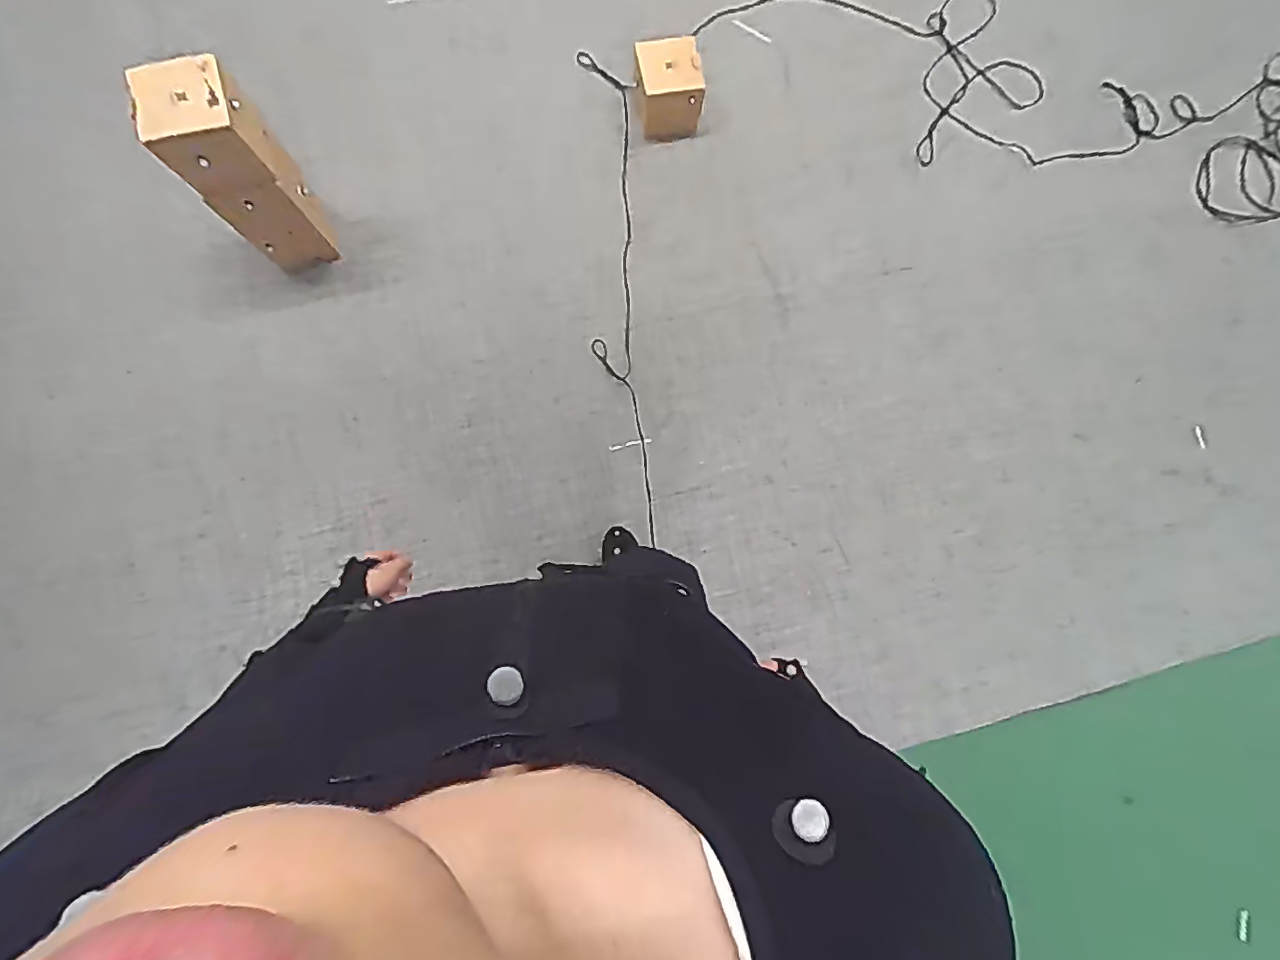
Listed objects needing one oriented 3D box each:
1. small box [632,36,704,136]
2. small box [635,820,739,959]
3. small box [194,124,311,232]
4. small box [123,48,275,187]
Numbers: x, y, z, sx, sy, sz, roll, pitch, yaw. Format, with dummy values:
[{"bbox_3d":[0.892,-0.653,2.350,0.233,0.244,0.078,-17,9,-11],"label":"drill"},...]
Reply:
[{"bbox_3d":[0.075,-1.150,1.589,0.179,0.176,0.168,-12,84,-6],"label":"small box"},{"bbox_3d":[0.088,0.840,1.120,0.168,0.176,0.179,-13,84,-4],"label":"small box"},{"bbox_3d":[-0.941,-0.730,1.311,0.179,0.176,0.168,-15,85,-7],"label":"small box"},{"bbox_3d":[-0.926,-0.758,1.150,0.179,0.176,0.168,-15,85,-5],"label":"small box"}]
